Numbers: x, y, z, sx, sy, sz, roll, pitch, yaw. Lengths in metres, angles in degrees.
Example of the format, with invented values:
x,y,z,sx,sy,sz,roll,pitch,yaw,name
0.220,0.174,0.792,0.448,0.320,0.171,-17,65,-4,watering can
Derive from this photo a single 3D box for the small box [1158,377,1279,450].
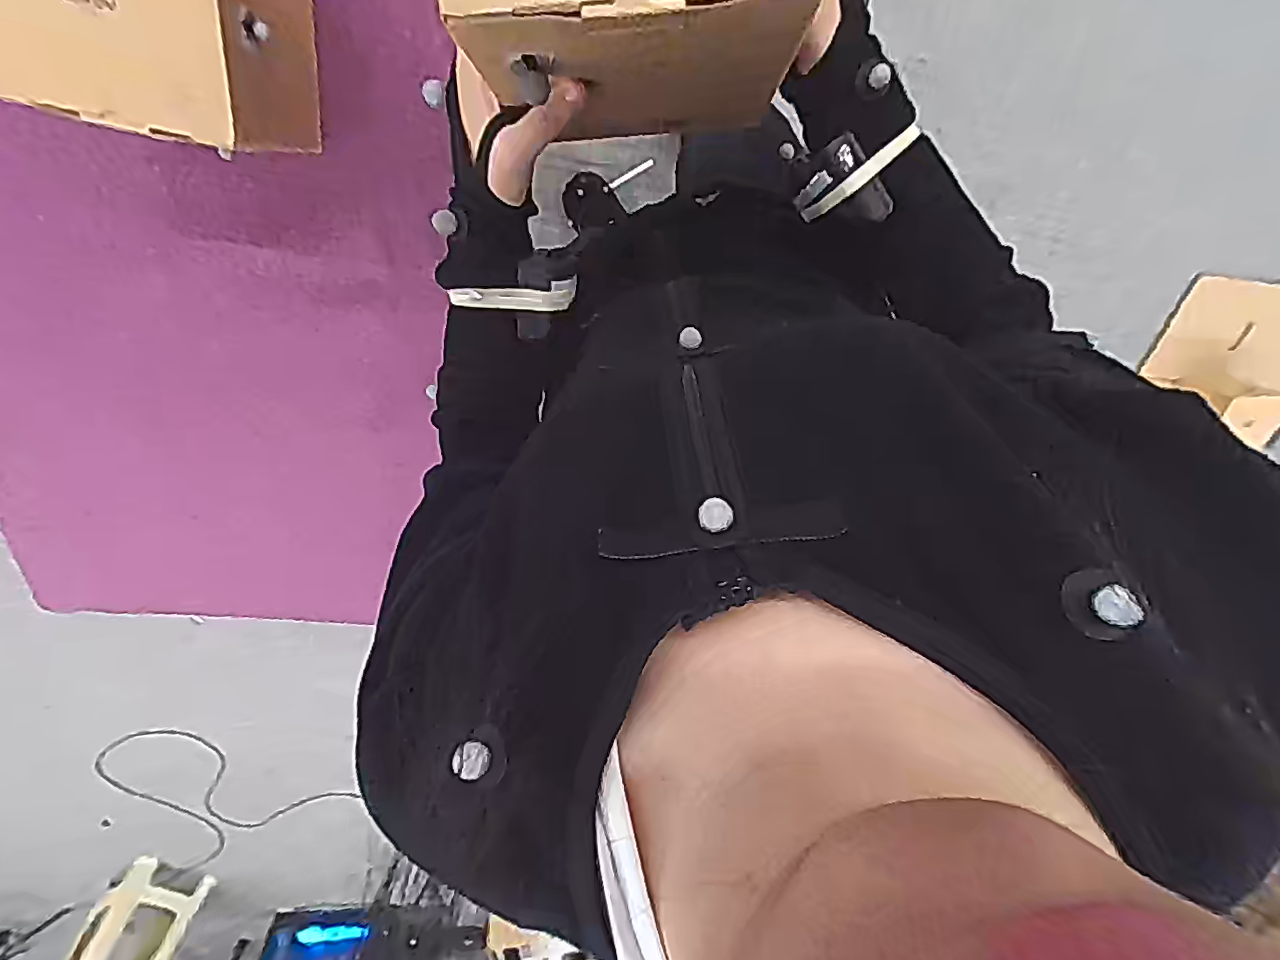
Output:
x,y,z,sx,sy,sz,roll,pitch,yaw,name
1.712,-0.201,1.595,0.179,0.176,0.168,-3,118,-4,small box

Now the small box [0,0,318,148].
x,y,z,sx,sy,sz,roll,pitch,yaw,name
-0.378,-0.379,0.427,0.168,0.176,0.179,7,119,-11,small box
